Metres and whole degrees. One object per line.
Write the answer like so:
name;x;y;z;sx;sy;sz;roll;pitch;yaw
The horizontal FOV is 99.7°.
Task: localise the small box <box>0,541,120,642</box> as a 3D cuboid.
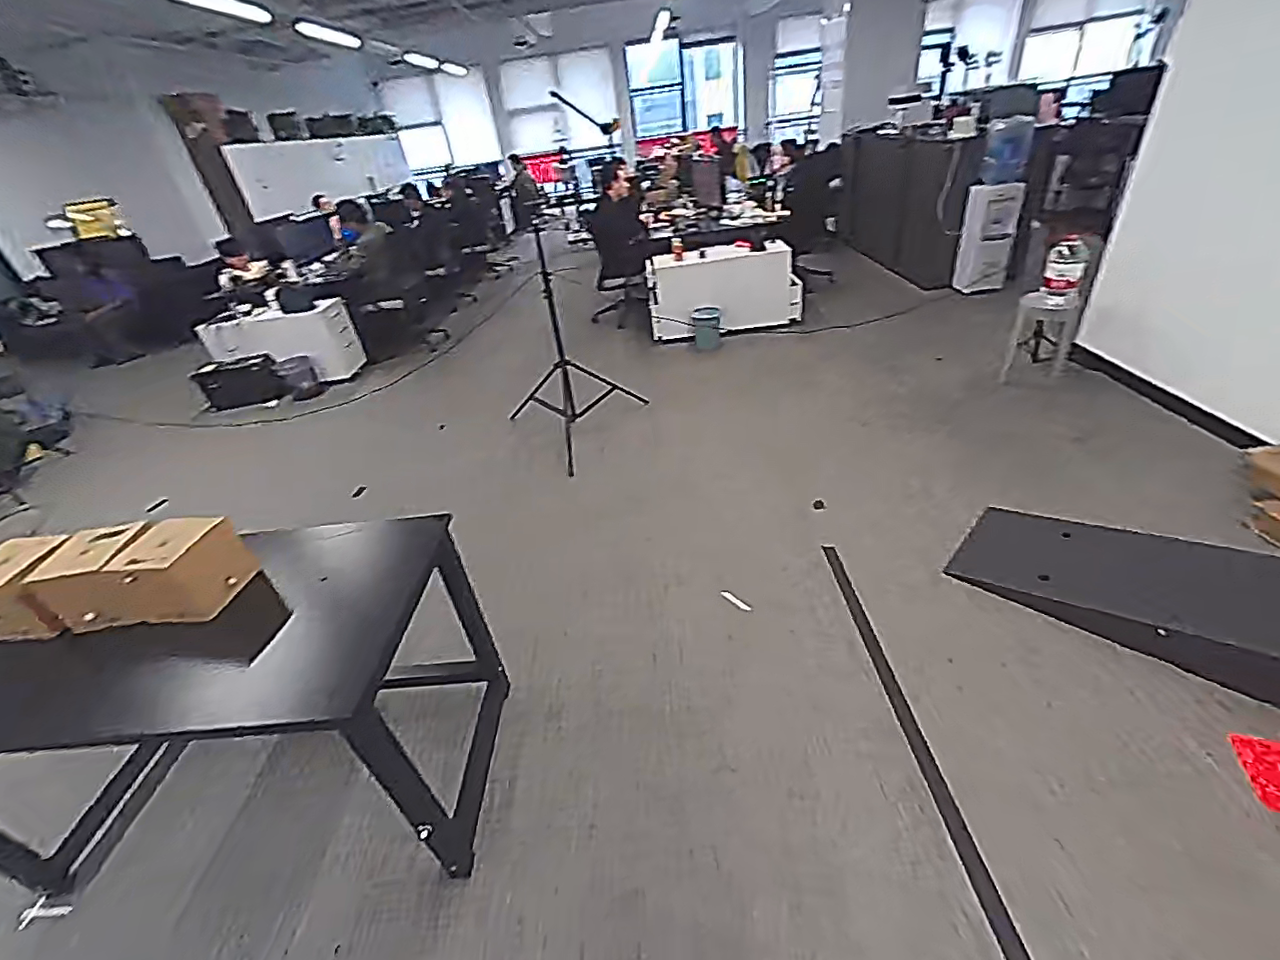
small box;-1.415;0.269;1.281;0.168;0.176;0.179;-4;33;6
